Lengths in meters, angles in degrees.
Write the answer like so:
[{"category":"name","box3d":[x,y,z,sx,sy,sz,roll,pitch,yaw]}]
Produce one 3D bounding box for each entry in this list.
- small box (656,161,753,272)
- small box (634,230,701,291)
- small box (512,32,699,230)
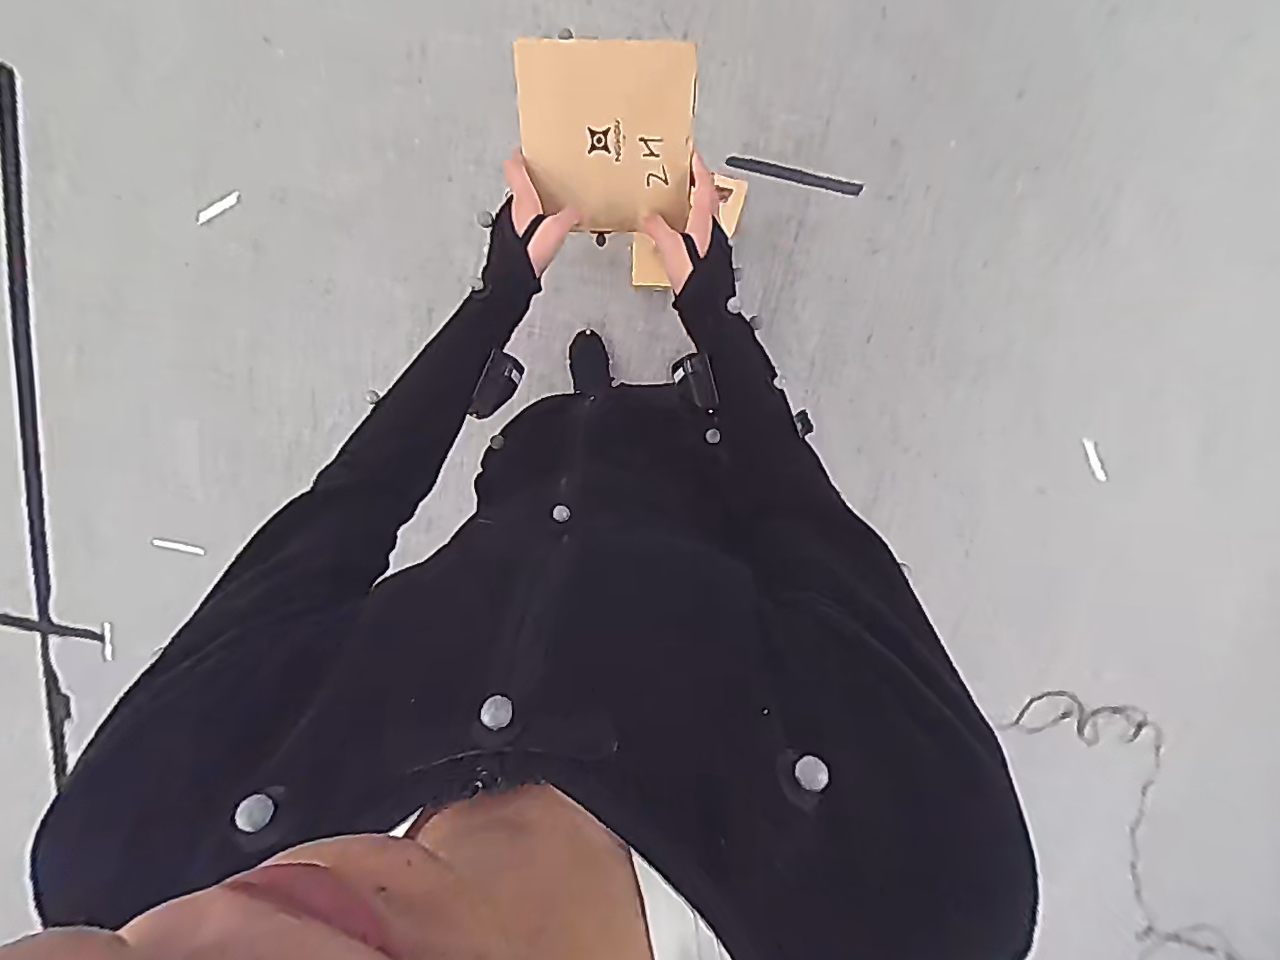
[{"category":"small box","box3d":[0.136,-0.590,1.225,0.168,0.176,0.179,16,105,-4]},{"category":"small box","box3d":[0.071,-0.589,1.395,0.168,0.176,0.179,2,106,-1]},{"category":"small box","box3d":[-0.033,-0.371,0.603,0.179,0.176,0.168,-1,116,-1]}]
